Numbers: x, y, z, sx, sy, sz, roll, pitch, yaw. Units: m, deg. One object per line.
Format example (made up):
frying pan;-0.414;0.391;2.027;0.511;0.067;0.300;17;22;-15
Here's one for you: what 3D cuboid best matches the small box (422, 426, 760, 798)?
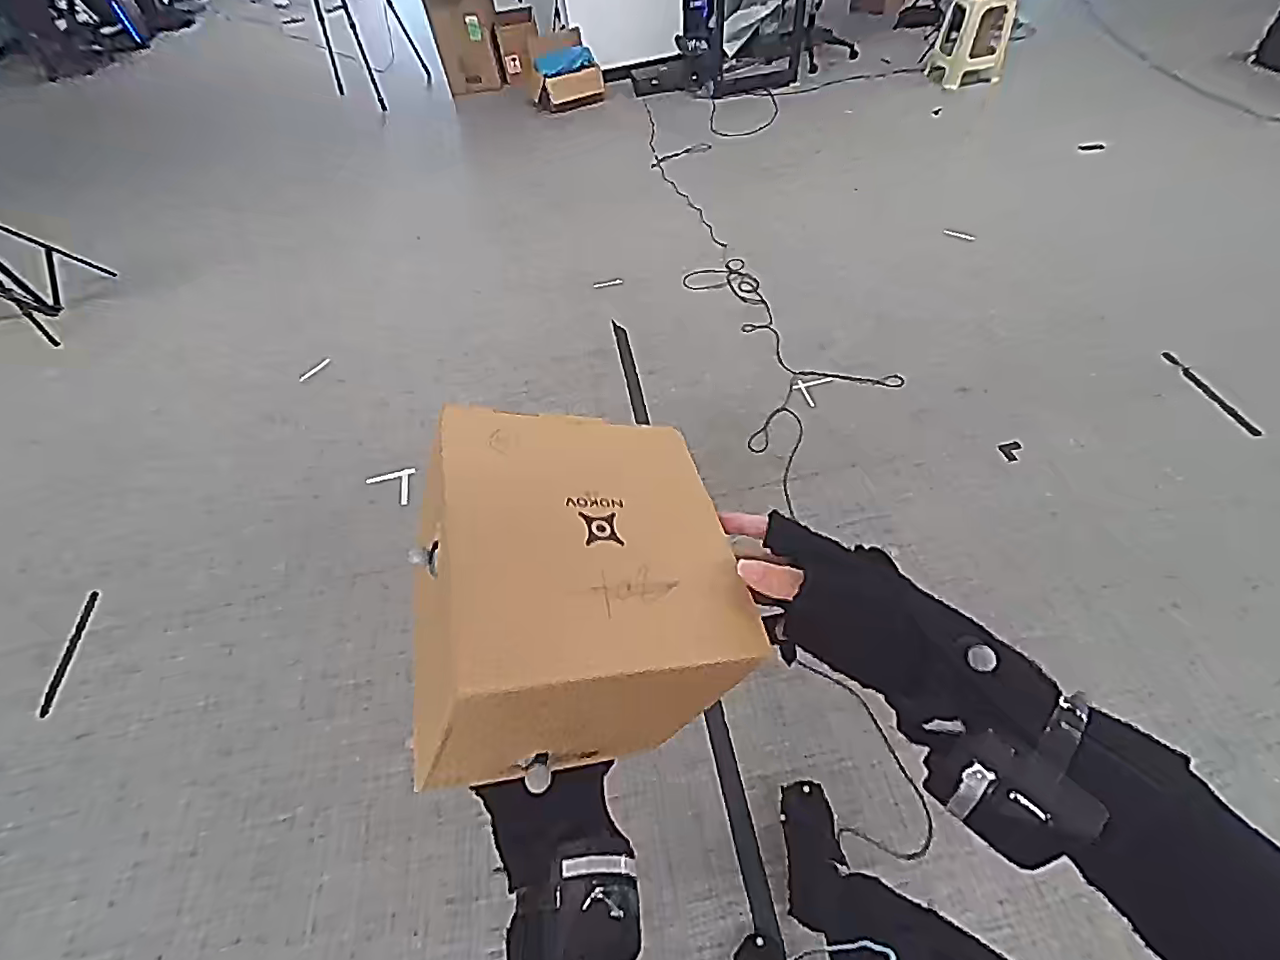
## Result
small box;-0.055;0.088;0.372;0.168;0.176;0.179;3;49;-26
